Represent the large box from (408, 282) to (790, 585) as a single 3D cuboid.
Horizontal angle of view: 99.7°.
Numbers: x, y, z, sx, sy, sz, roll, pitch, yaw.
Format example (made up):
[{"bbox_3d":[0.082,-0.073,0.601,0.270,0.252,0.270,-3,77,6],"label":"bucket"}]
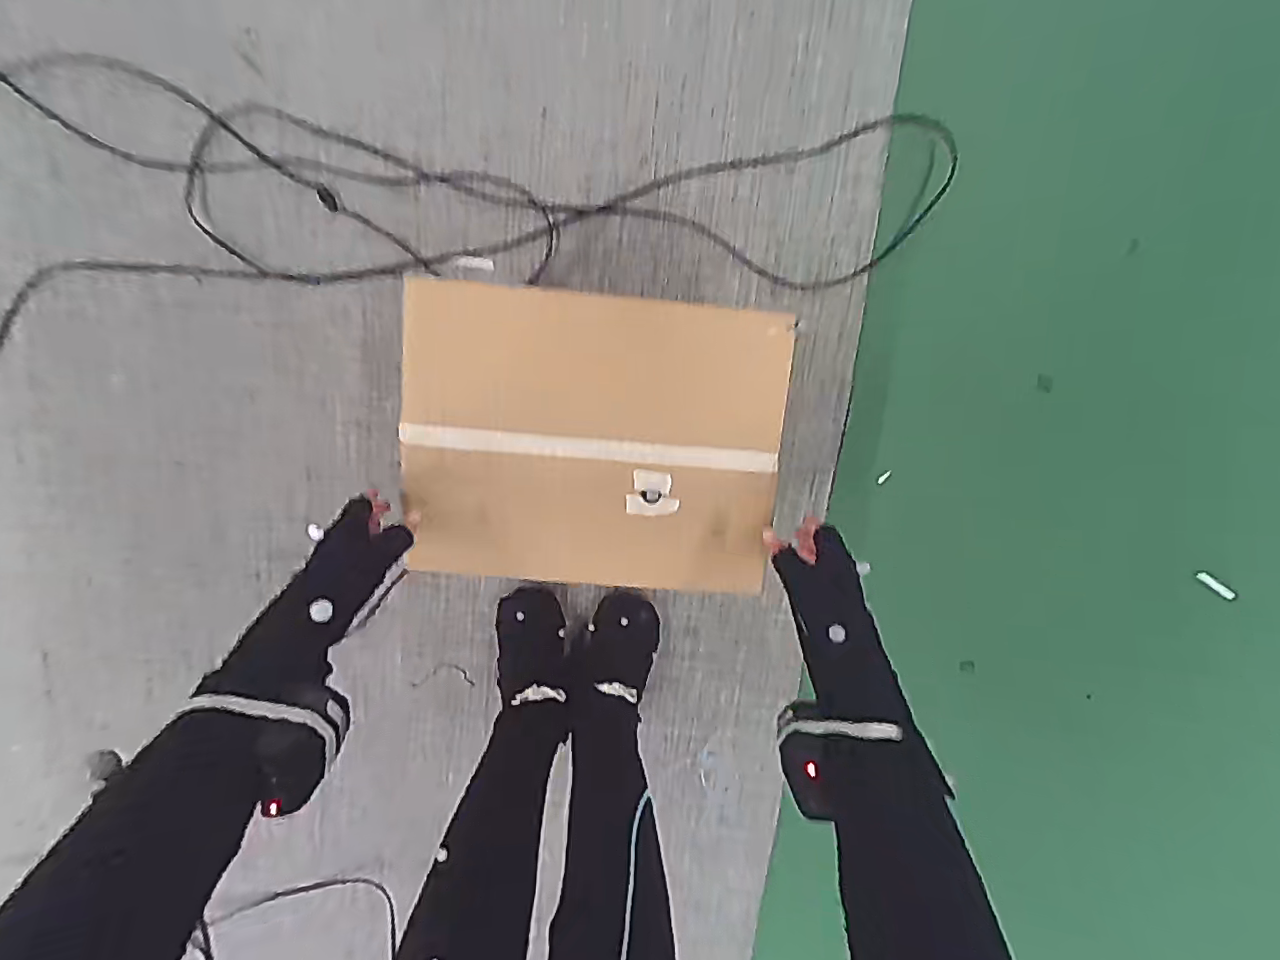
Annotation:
[{"bbox_3d":[-0.057,-0.066,0.731,0.408,0.320,0.320,4,102,-4],"label":"large box"}]
